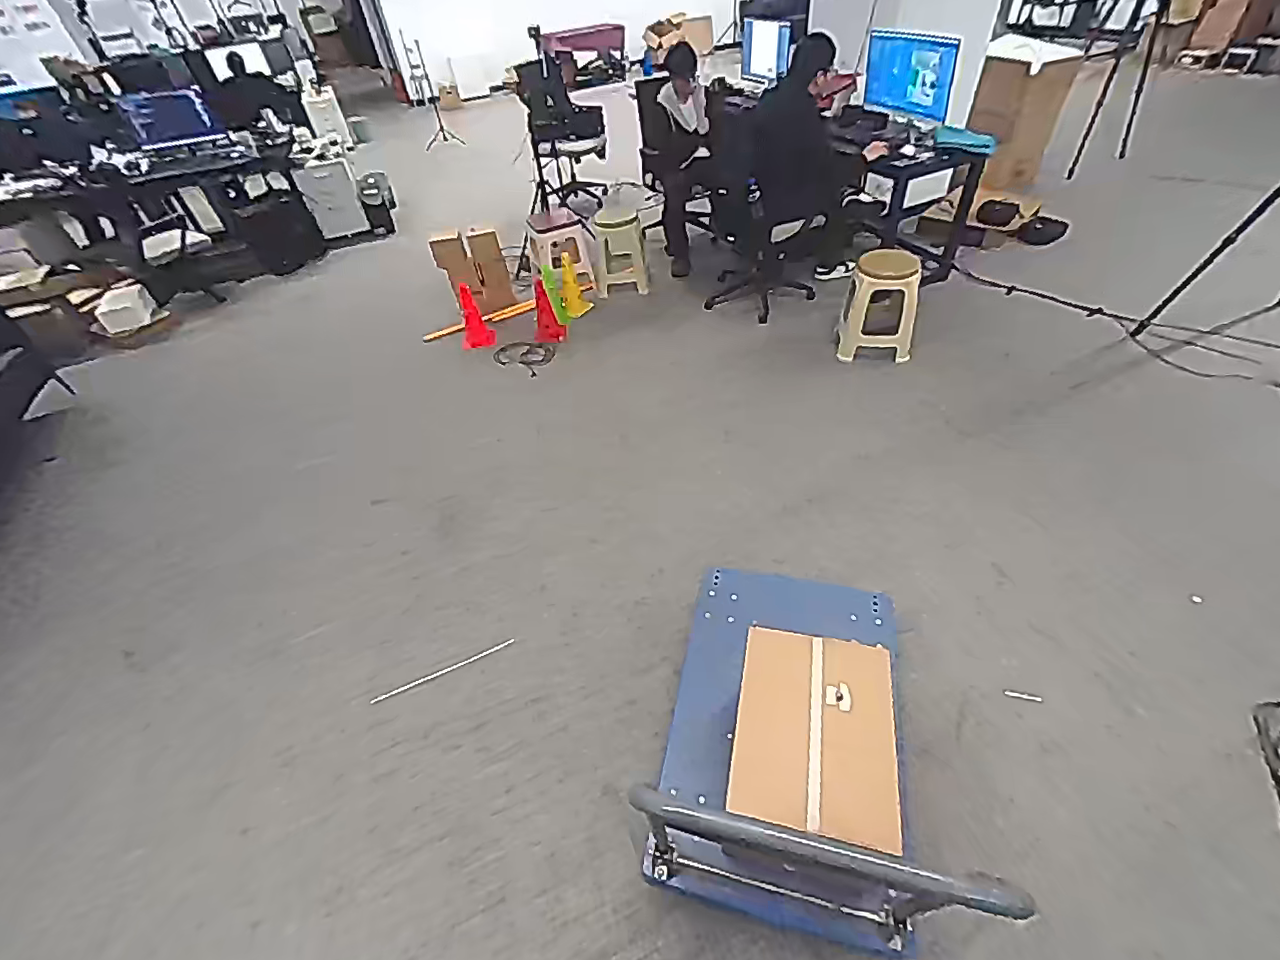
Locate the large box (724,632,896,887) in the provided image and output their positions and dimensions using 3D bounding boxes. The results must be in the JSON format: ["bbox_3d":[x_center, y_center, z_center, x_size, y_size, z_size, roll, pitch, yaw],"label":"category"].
[{"bbox_3d":[0.368,0.623,1.231,0.320,0.320,0.408,7,45,13],"label":"large box"}]
